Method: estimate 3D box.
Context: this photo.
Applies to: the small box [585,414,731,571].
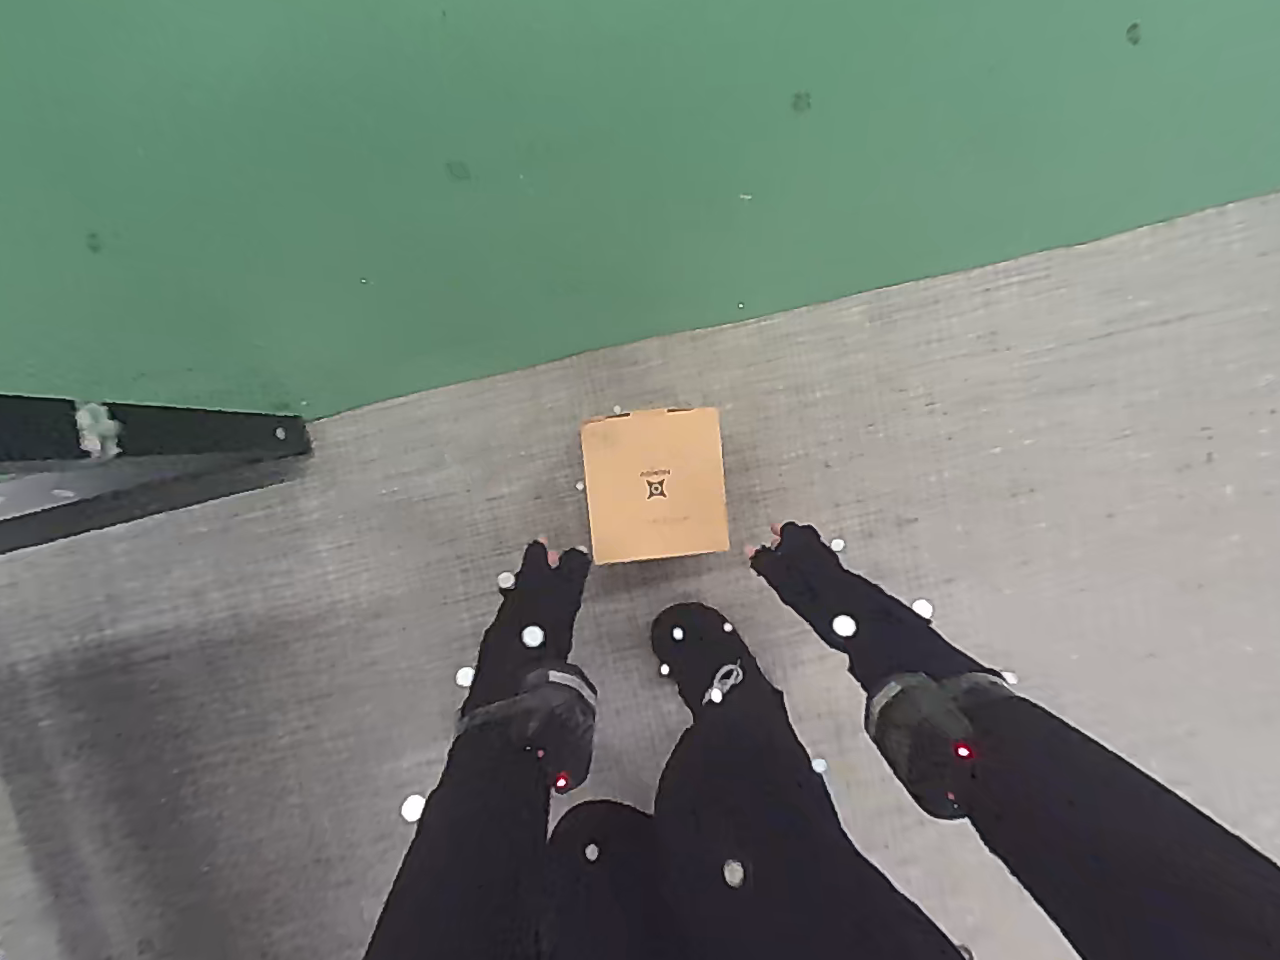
[{"bbox_3d":[0.019,0.010,0.719,0.168,0.176,0.179,-6,95,-1],"label":"small box"}]
